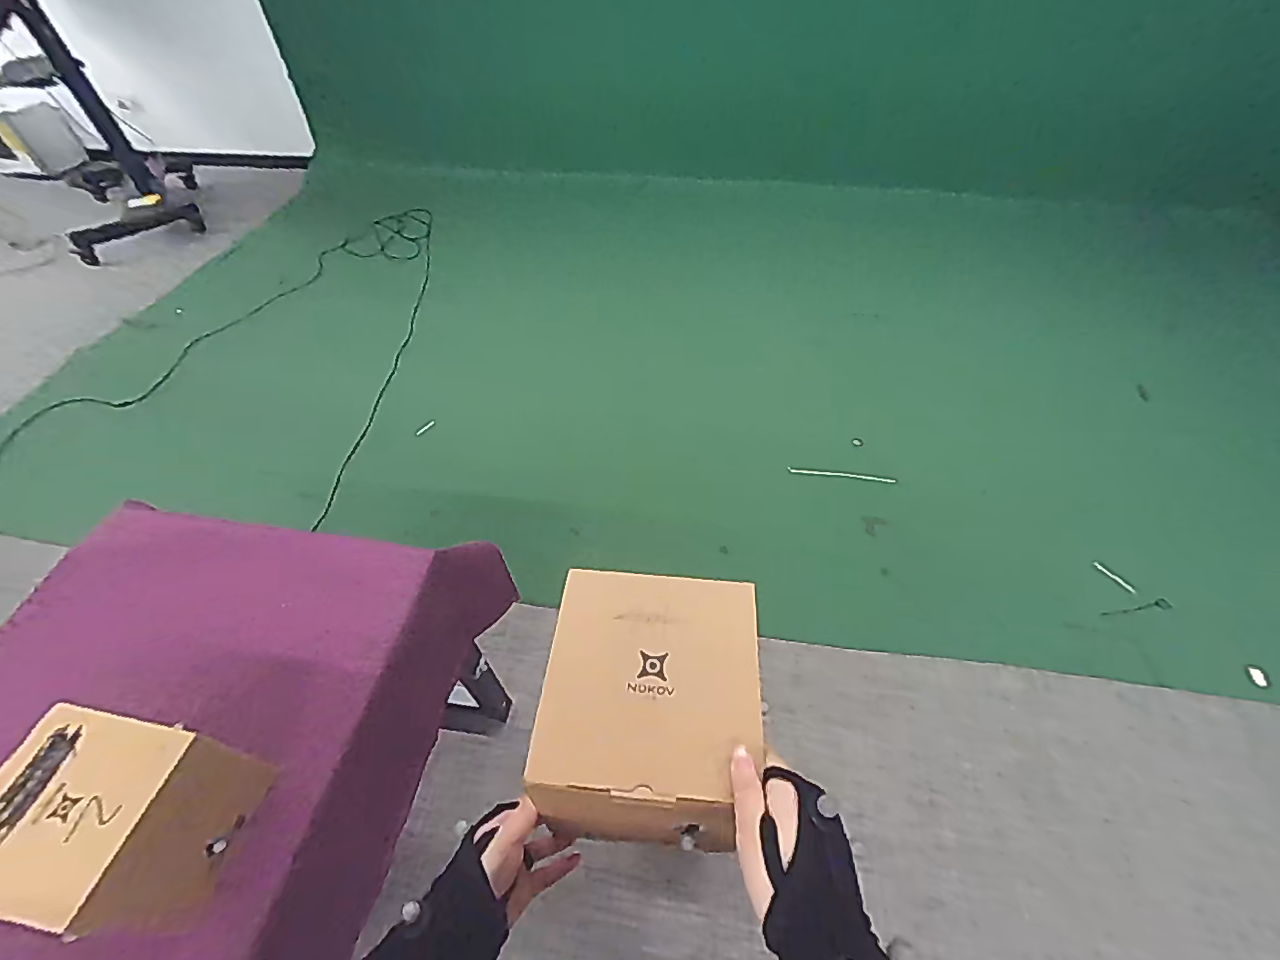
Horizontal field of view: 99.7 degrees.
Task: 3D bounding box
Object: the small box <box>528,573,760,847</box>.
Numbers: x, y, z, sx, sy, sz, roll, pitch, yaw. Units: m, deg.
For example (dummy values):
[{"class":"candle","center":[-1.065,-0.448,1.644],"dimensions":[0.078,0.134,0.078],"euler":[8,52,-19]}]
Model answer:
[{"class":"small box","center":[0.010,0.207,0.483],"dimensions":[0.168,0.176,0.179],"euler":[5,47,3]}]
